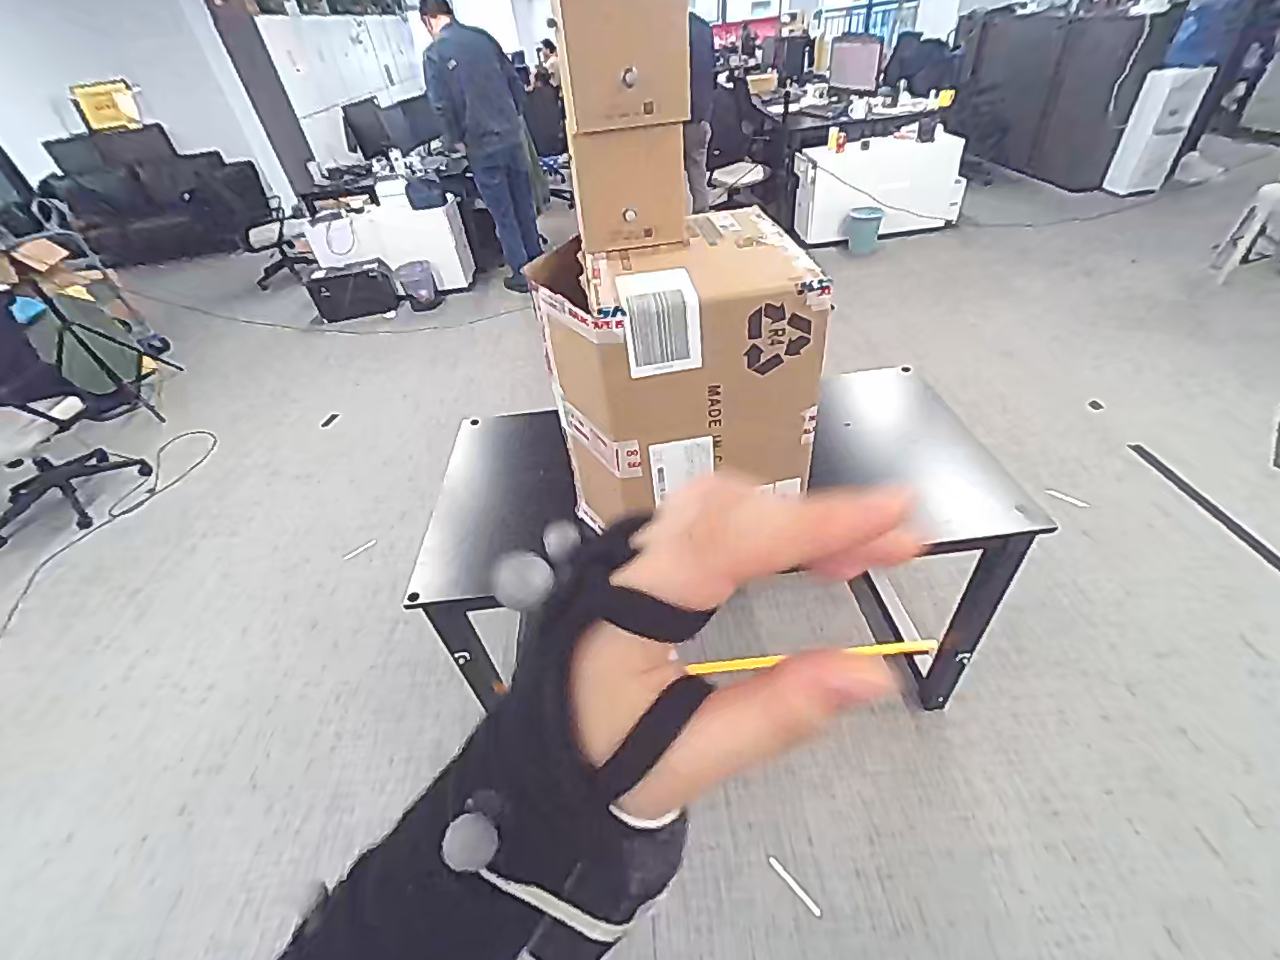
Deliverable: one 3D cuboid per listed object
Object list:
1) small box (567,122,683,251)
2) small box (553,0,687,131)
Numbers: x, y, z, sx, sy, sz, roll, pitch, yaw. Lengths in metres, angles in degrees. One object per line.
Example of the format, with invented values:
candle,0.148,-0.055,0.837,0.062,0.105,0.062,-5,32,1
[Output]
small box,-0.026,-0.490,0.891,0.168,0.176,0.179,-9,39,-4
small box,-0.031,-0.615,0.782,0.168,0.176,0.179,-11,39,-5
